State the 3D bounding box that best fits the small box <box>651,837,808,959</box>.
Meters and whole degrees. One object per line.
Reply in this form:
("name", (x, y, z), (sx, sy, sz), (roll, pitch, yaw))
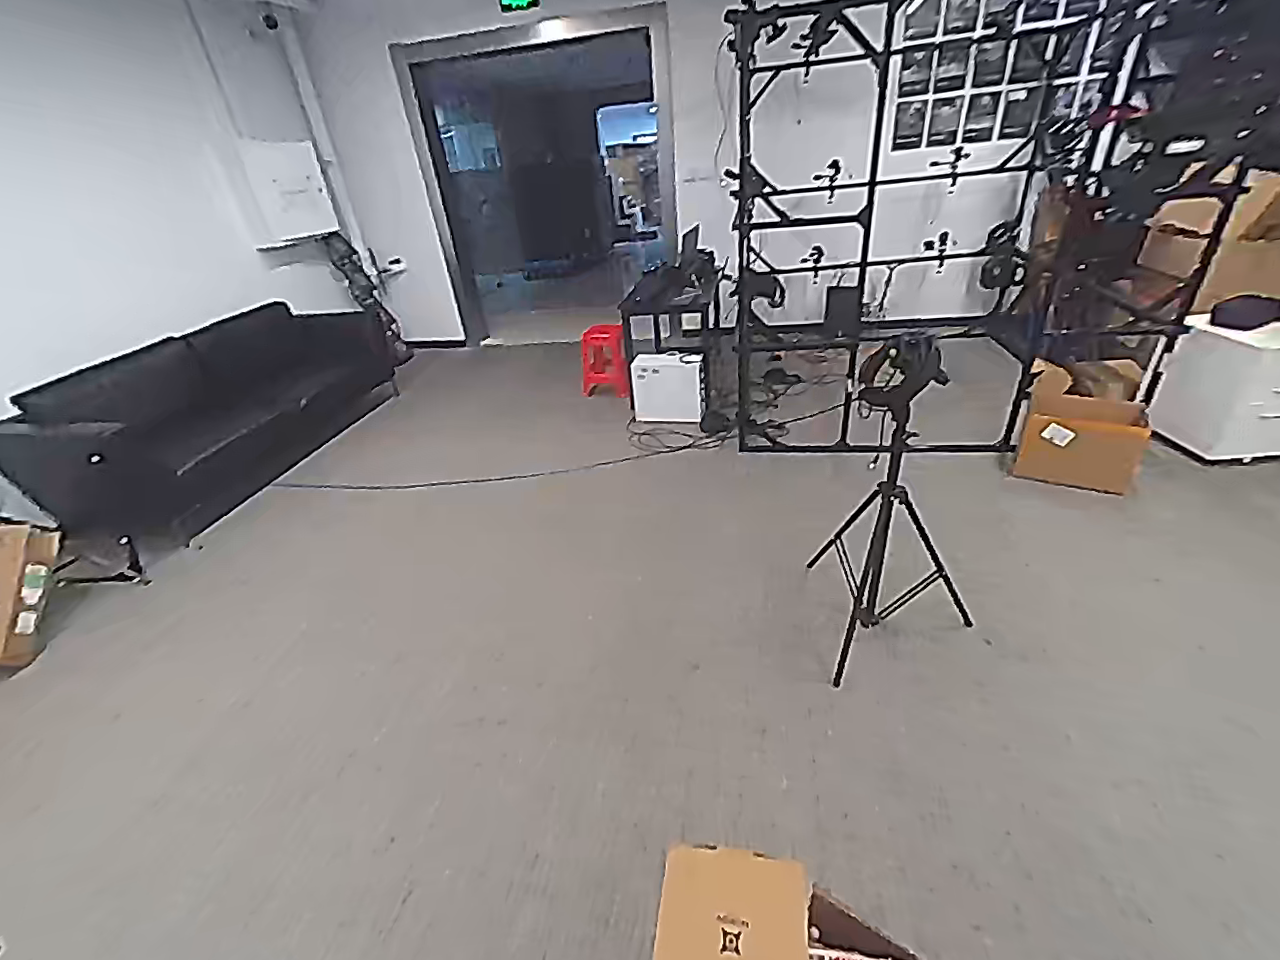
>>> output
("small box", (0.109, 0.565, 0.637), (0.168, 0.176, 0.179), (-1, 33, 14))
